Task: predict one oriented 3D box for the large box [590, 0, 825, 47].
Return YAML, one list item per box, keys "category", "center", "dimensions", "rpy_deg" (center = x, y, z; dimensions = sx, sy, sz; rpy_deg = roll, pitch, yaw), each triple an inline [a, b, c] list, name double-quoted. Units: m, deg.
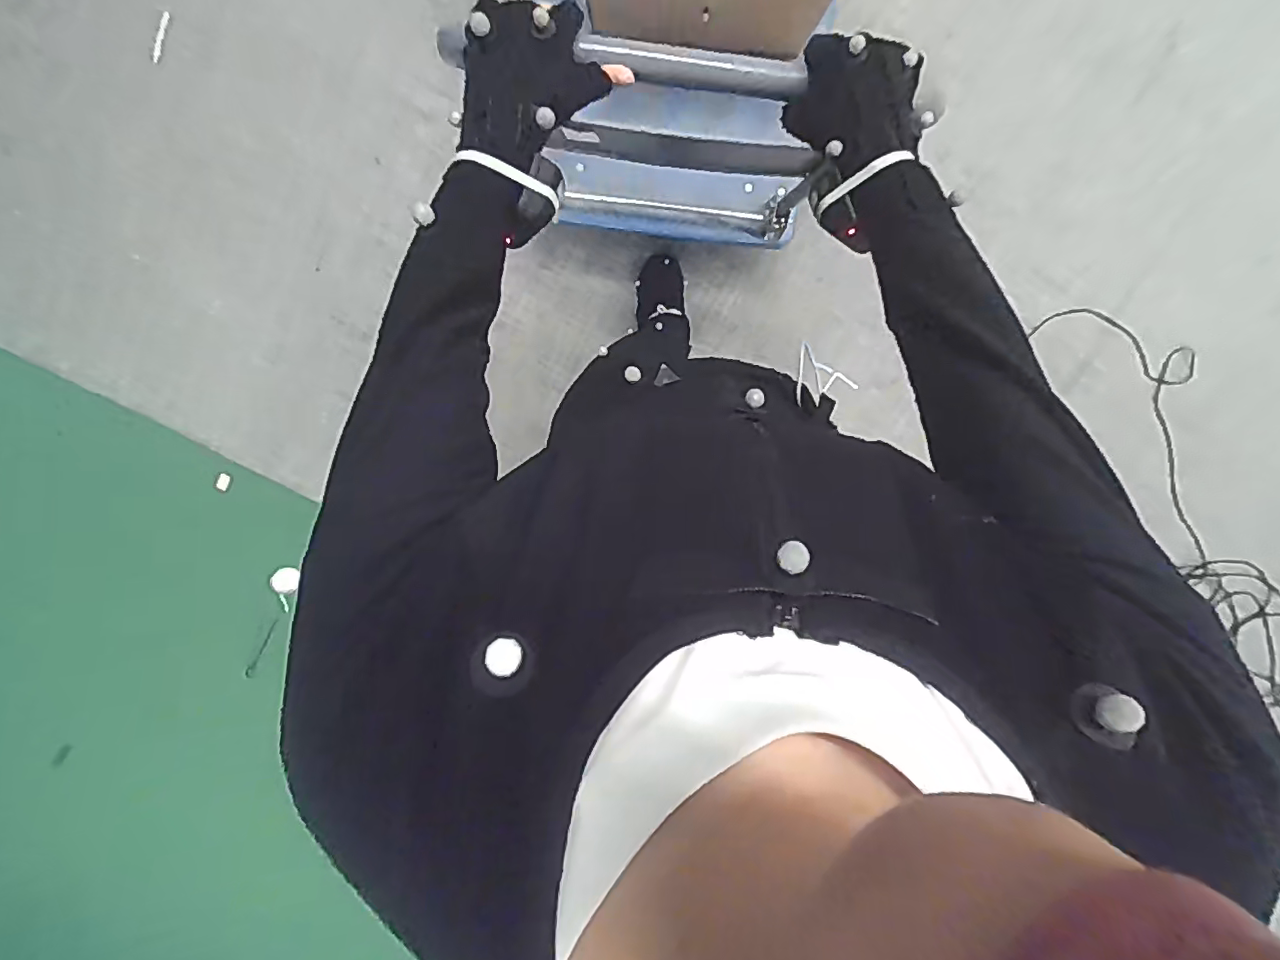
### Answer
- category: "large box"
  center: [0.119, -0.955, 0.876]
  dimensions: [0.408, 0.320, 0.320]
  rpy_deg: [3, 107, 0]
